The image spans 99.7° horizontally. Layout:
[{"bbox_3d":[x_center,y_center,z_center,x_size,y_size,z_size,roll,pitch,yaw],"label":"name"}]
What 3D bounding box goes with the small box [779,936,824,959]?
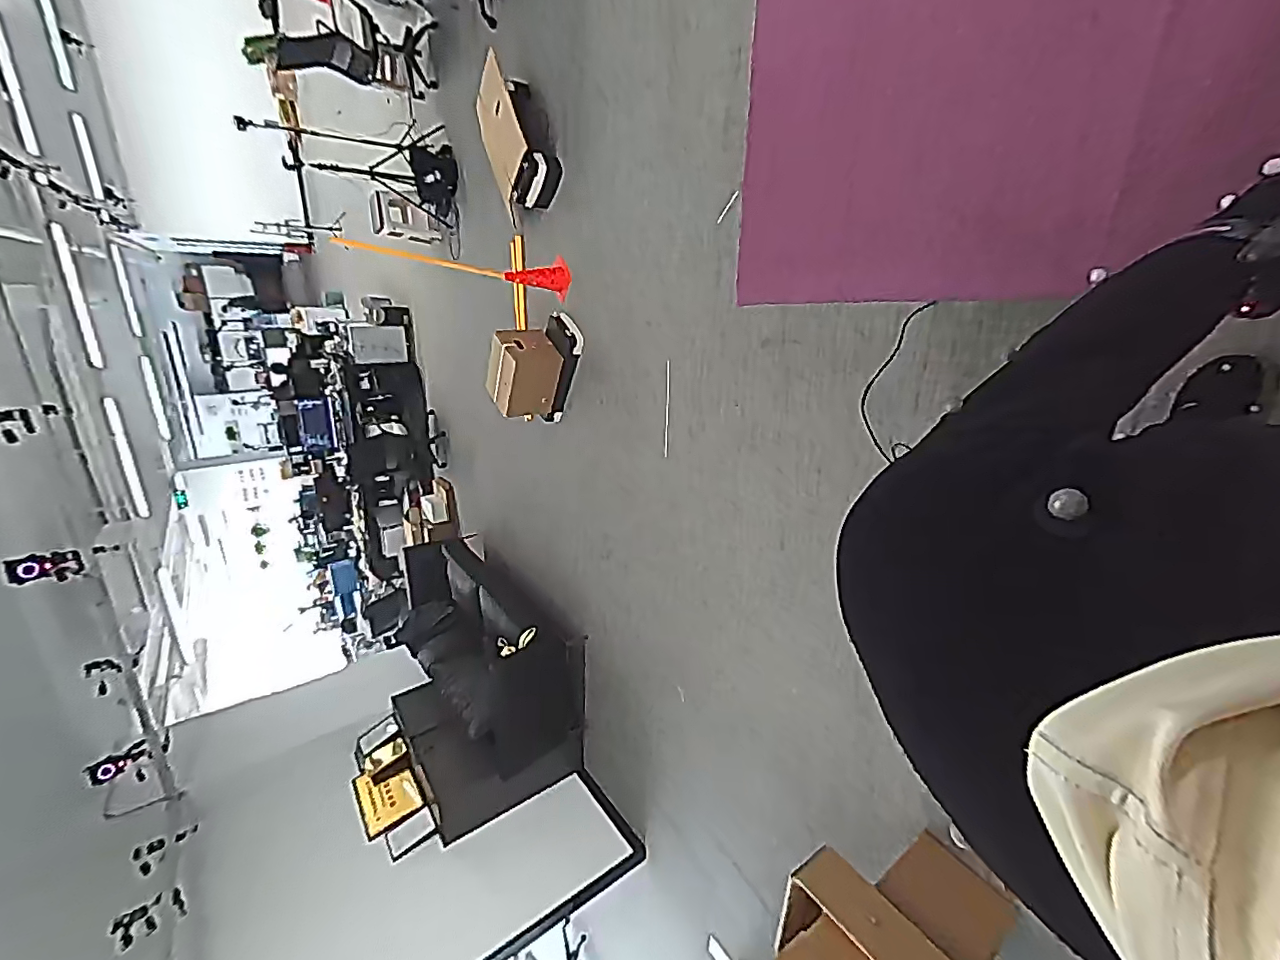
[{"bbox_3d":[0.469,1.476,1.542,0.179,0.176,0.168,30,123,48],"label":"small box"}]
